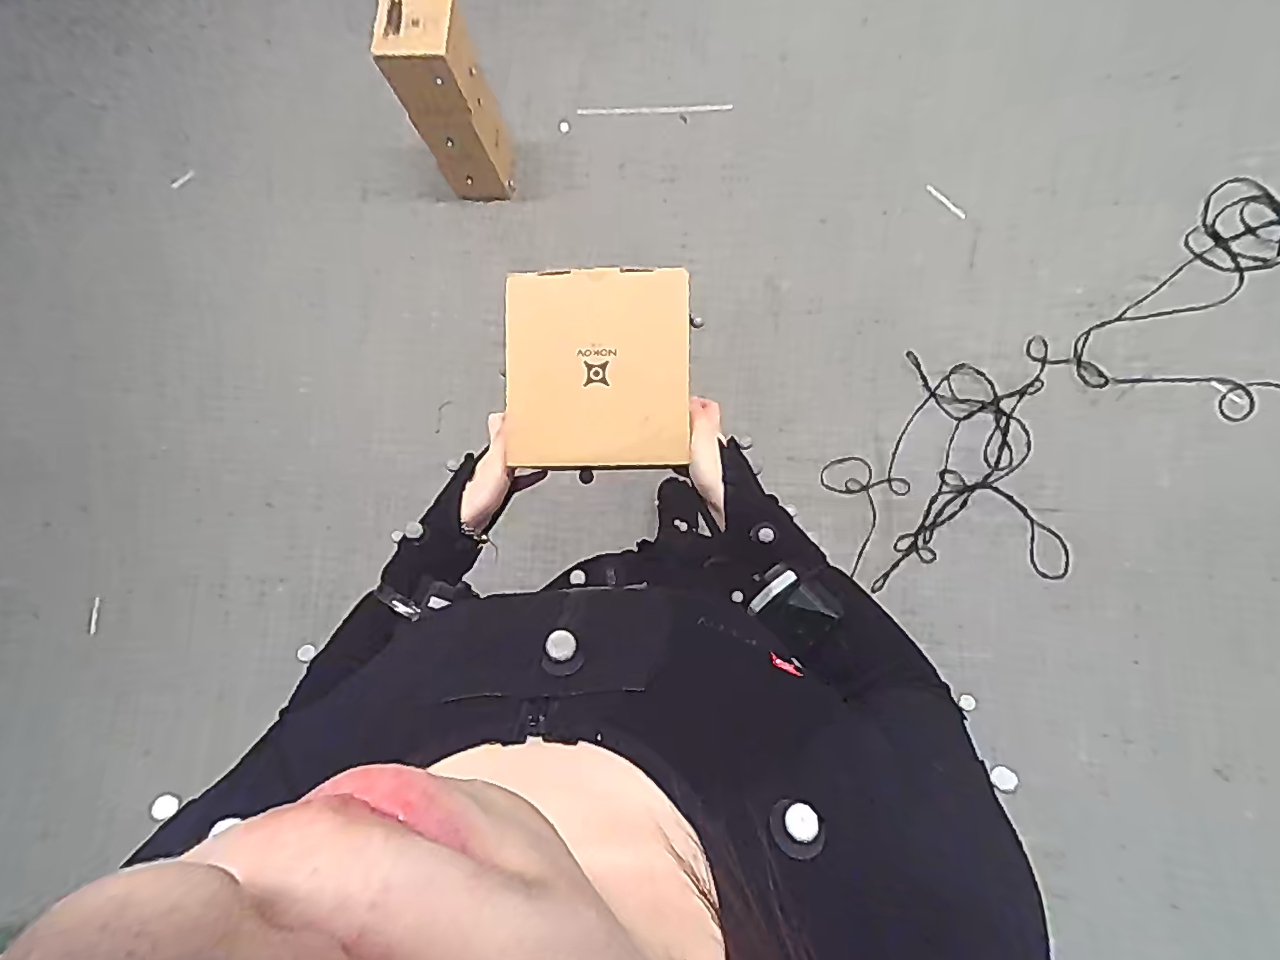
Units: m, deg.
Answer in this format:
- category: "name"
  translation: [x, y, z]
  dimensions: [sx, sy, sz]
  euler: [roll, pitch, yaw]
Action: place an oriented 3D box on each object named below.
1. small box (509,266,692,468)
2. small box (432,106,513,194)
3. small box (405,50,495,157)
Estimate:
- category: "small box"
  translation: [-0.030, -0.100, 0.556]
  dimensions: [0.168, 0.176, 0.179]
  euler: [-1, 89, 3]
- category: "small box"
  translation: [-0.487, -0.970, 1.596]
  dimensions: [0.179, 0.176, 0.168]
  euler: [4, 84, 6]
- category: "small box"
  translation: [-0.495, -0.990, 1.433]
  dimensions: [0.168, 0.176, 0.179]
  euler: [4, 84, 5]
